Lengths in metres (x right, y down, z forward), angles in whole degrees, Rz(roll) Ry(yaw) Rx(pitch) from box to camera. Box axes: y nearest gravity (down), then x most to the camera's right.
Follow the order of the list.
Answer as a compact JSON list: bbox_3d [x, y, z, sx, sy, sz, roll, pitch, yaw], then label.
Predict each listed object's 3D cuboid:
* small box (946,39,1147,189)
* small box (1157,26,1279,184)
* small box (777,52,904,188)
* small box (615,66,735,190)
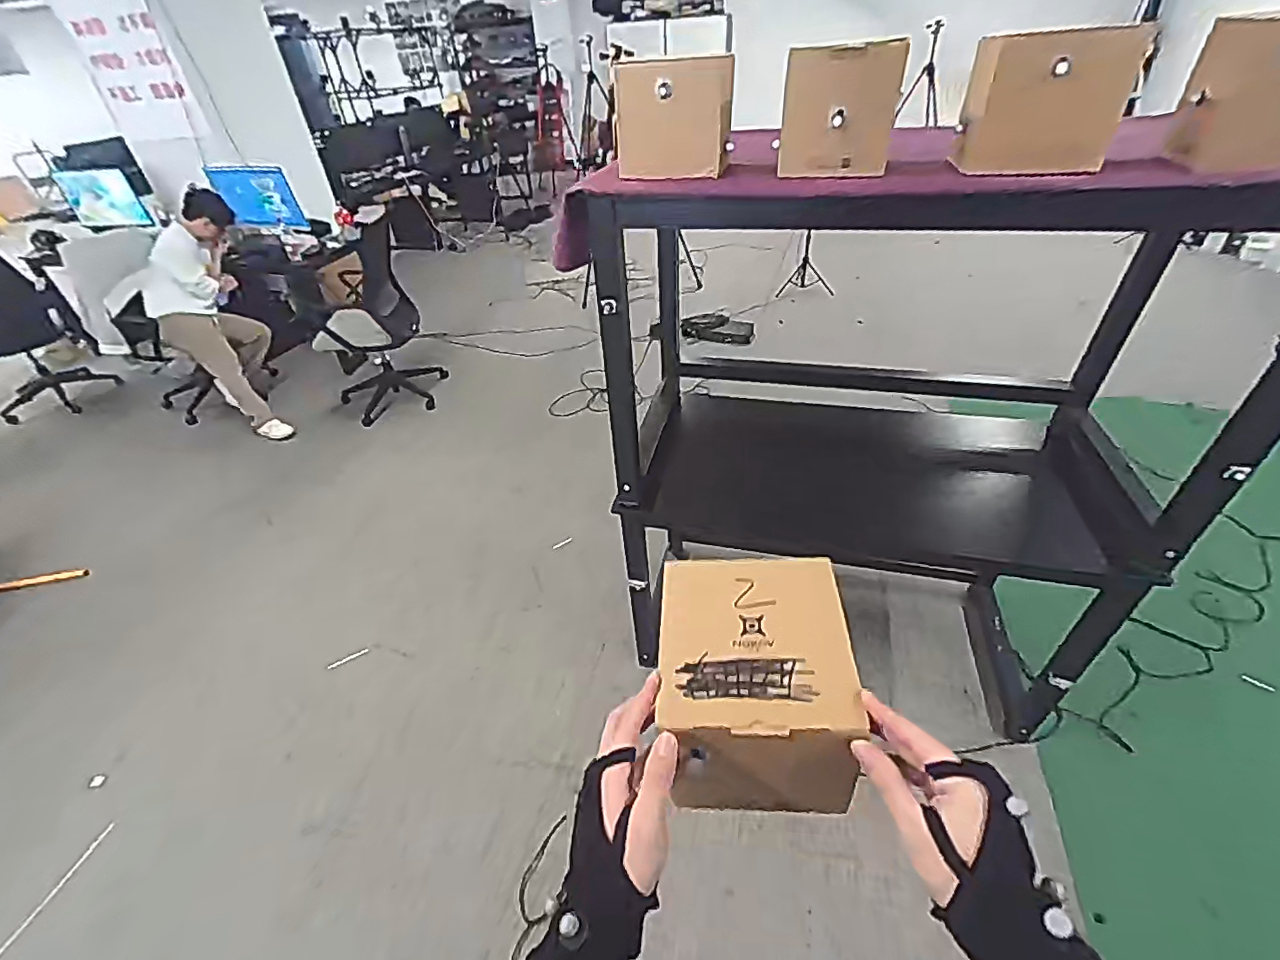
[{"bbox_3d":[0.590,-0.549,0.816,0.179,0.176,0.168,6,38,15],"label":"small box"},{"bbox_3d":[0.865,-0.513,0.739,0.179,0.176,0.168,9,41,17],"label":"small box"},{"bbox_3d":[0.318,-0.584,0.883,0.168,0.176,0.179,7,39,13],"label":"small box"},{"bbox_3d":[0.066,-0.614,0.946,0.179,0.176,0.168,7,39,12],"label":"small box"}]
